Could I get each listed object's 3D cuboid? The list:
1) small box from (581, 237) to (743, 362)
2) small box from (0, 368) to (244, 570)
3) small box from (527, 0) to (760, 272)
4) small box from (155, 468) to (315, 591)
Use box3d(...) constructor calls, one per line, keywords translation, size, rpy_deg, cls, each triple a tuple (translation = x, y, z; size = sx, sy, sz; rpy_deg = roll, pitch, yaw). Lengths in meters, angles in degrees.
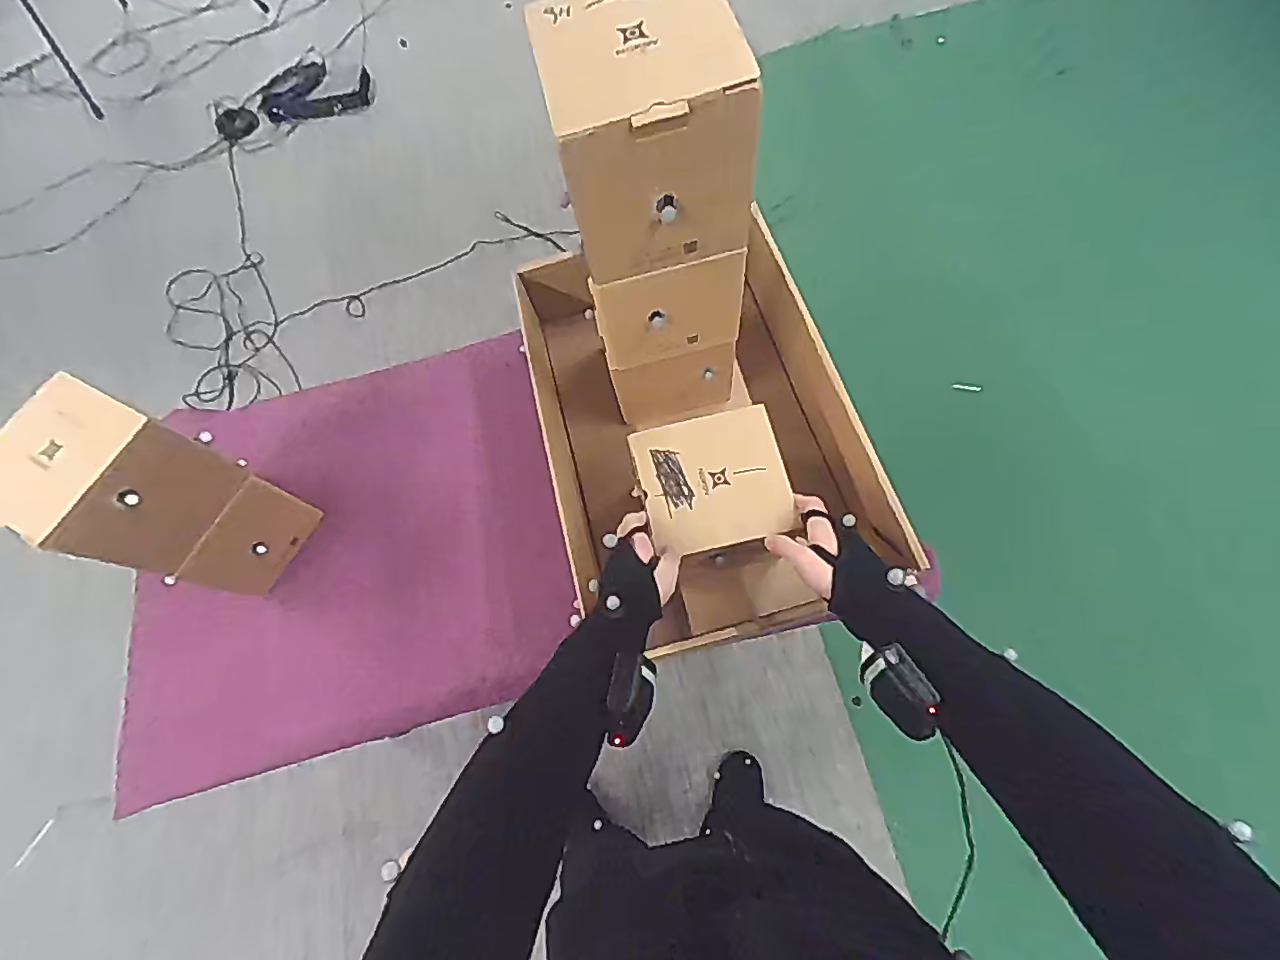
box3d(translation=(0.023, -0.265, 0.668), size=(0.168, 0.176, 0.179), rpy_deg=(-14, 68, 1), cls="small box")
box3d(translation=(-0.672, -0.004, 0.694), size=(0.168, 0.176, 0.179), rpy_deg=(25, 73, 13), cls="small box")
box3d(translation=(0.006, -0.325, 0.515), size=(0.168, 0.176, 0.179), rpy_deg=(-14, 69, 1), cls="small box")
box3d(translation=(-0.661, 0.060, 0.843), size=(0.179, 0.176, 0.168), rpy_deg=(24, 72, 14), cls="small box")
